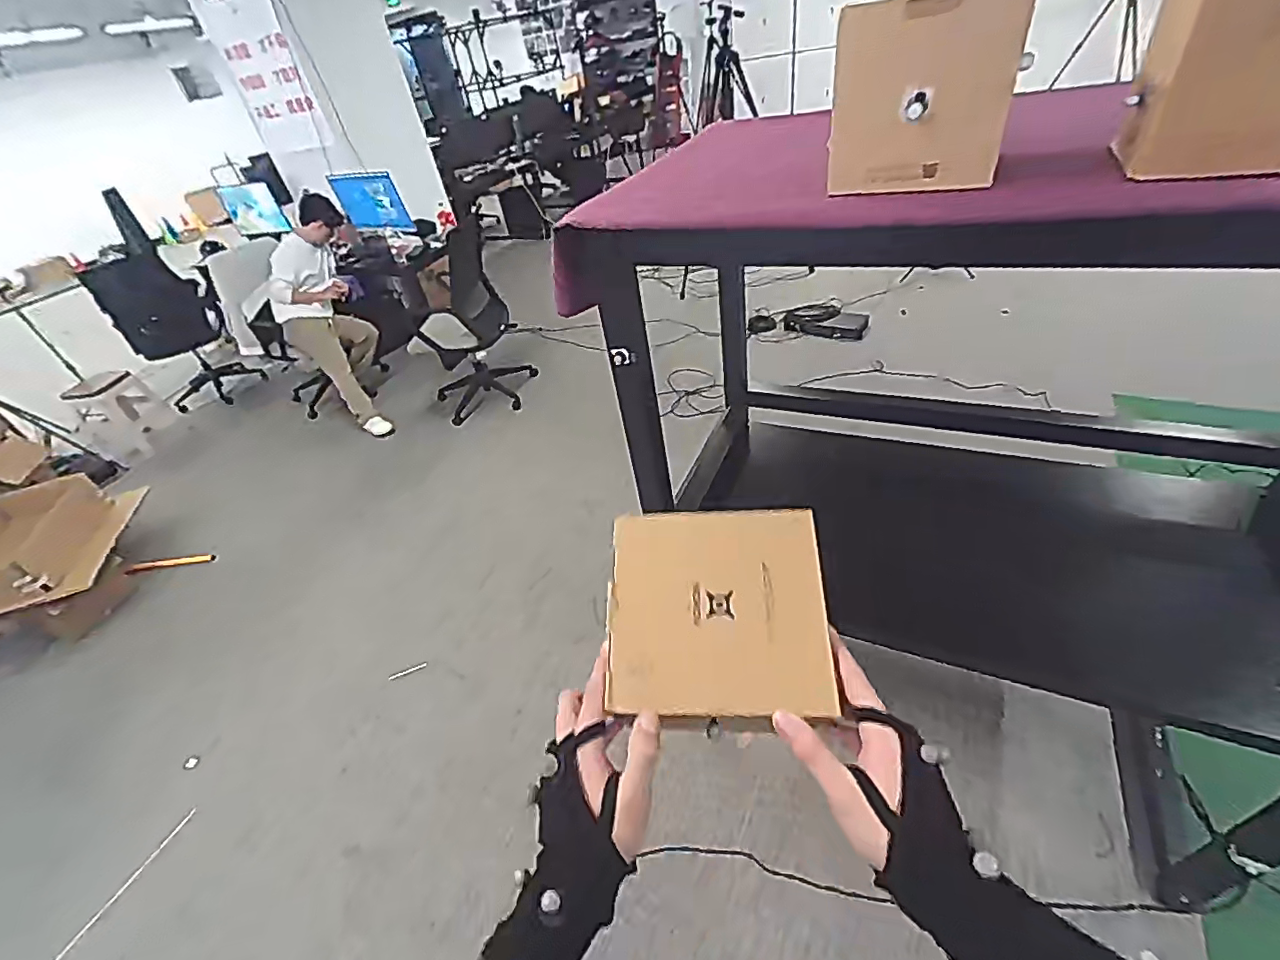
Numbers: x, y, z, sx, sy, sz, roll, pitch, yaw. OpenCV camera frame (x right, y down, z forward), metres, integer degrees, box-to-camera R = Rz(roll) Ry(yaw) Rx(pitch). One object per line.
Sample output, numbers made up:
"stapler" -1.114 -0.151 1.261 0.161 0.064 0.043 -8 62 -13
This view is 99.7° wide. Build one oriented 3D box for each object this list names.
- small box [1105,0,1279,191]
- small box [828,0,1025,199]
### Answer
"small box" 0.562 -0.373 0.483 0.179 0.176 0.168 10 42 27
"small box" 0.312 -0.423 0.604 0.168 0.176 0.179 11 43 25
